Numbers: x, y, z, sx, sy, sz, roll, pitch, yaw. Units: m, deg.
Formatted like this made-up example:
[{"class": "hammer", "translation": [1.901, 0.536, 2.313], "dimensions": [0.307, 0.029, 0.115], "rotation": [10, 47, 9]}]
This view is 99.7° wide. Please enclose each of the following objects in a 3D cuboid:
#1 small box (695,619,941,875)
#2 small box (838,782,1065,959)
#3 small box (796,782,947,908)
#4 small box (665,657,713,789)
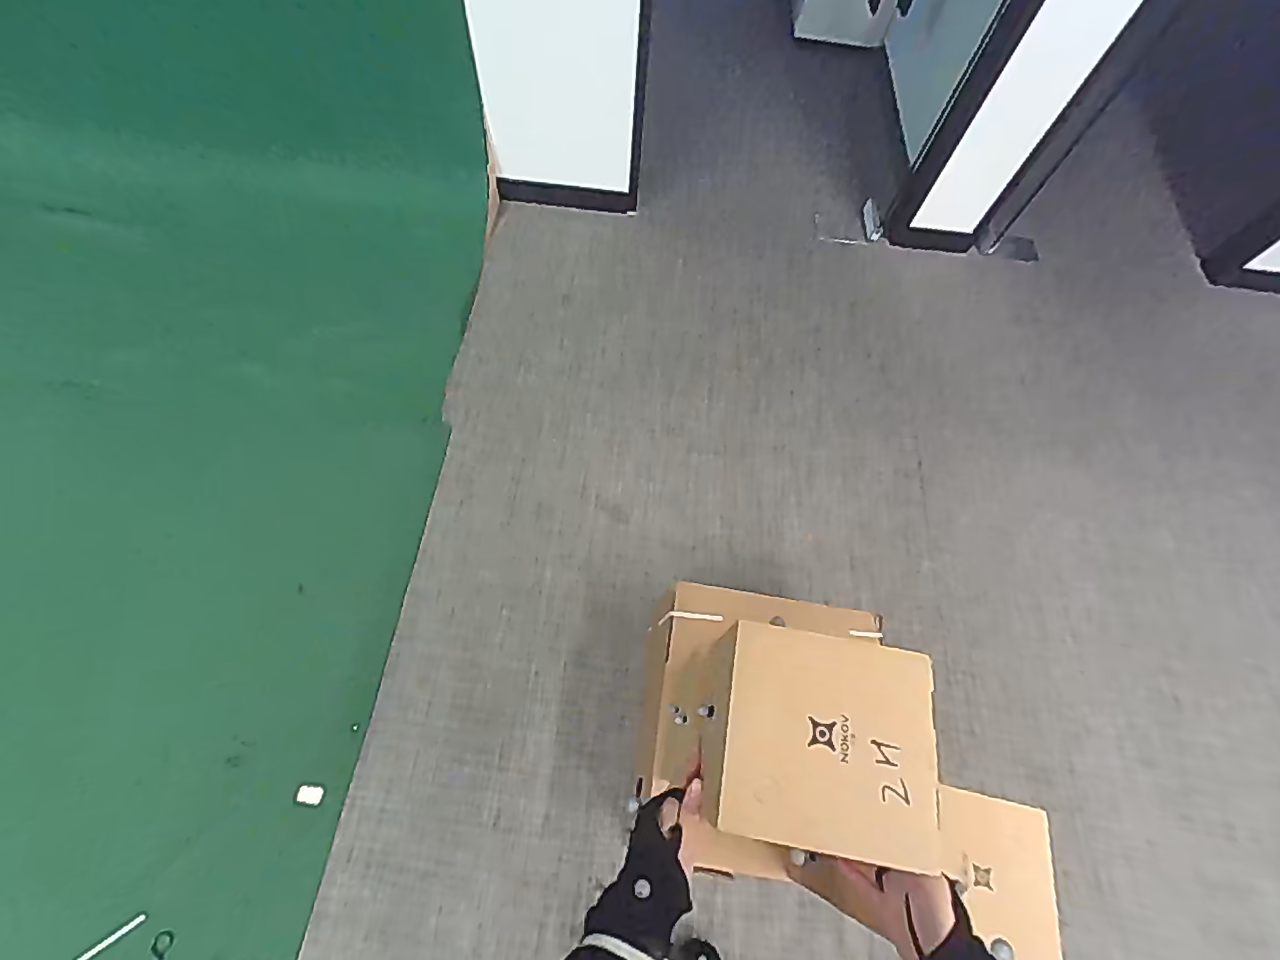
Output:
[{"class": "small box", "translation": [0.154, 0.246, 0.517], "dimensions": [0.179, 0.176, 0.168], "rotation": [11, 65, 2]}, {"class": "small box", "translation": [0.365, 0.467, 0.661], "dimensions": [0.179, 0.176, 0.168], "rotation": [13, 63, 1]}, {"class": "small box", "translation": [0.343, 0.530, 0.810], "dimensions": [0.168, 0.176, 0.179], "rotation": [13, 62, 0]}, {"class": "small box", "translation": [0.137, 0.401, 0.859], "dimensions": [0.168, 0.176, 0.179], "rotation": [11, 62, 3]}]
